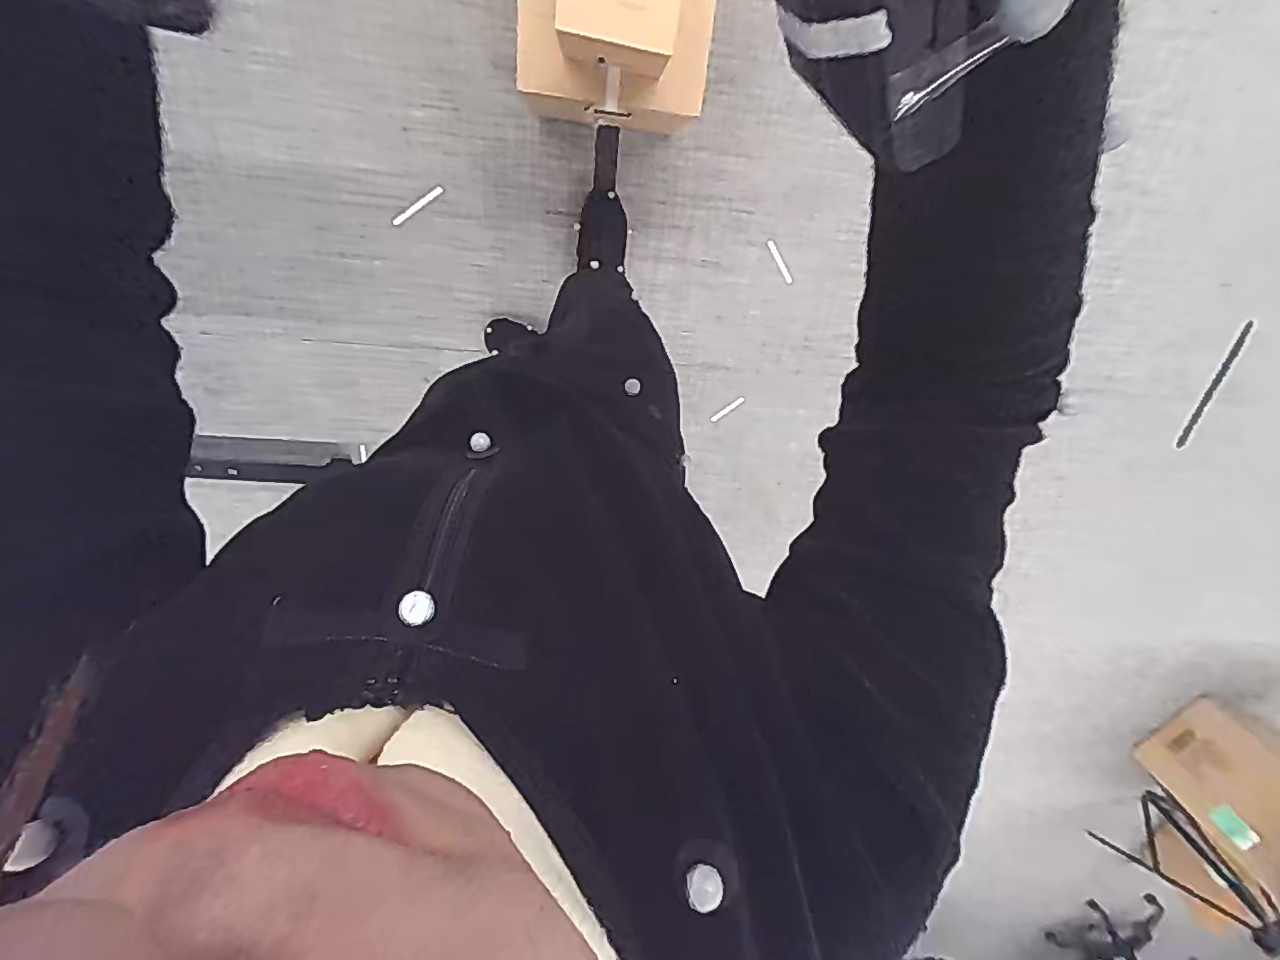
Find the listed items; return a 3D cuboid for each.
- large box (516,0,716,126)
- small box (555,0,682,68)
[{"bbox_3d":[-0.039,-0.885,0.942,0.320,0.320,0.408,3,117,-8],"label":"large box"},{"bbox_3d":[-0.023,-0.715,0.756,0.168,0.176,0.179,8,118,-8],"label":"small box"}]
